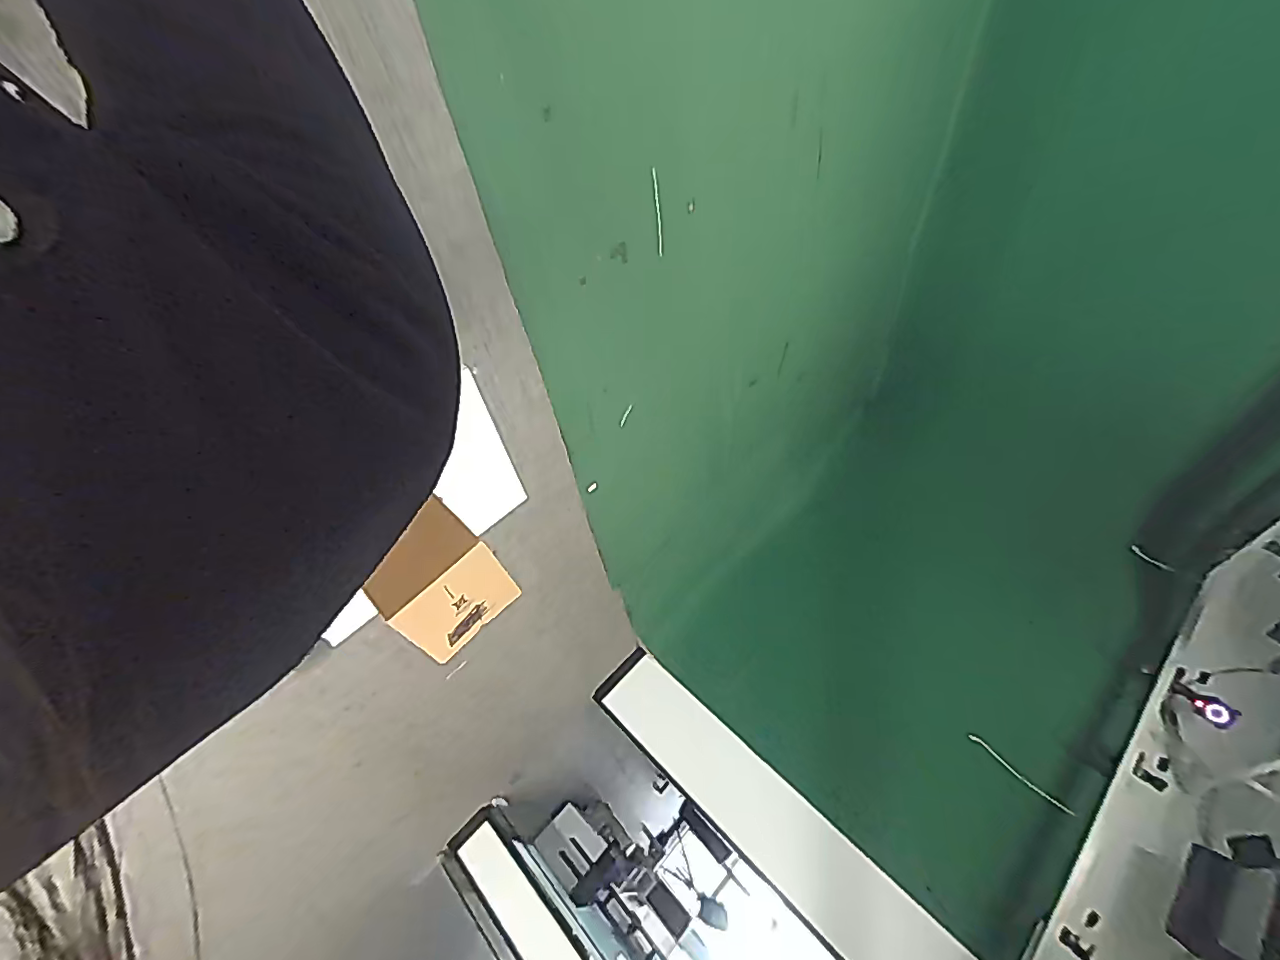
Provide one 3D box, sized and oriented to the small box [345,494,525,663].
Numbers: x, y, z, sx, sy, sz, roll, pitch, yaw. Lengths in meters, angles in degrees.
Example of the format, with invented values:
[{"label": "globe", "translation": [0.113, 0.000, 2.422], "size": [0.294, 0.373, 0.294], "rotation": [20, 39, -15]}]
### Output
[{"label": "small box", "translation": [-0.318, 0.152, 0.853], "size": [0.168, 0.176, 0.179], "rotation": [-44, 149, -16]}]
